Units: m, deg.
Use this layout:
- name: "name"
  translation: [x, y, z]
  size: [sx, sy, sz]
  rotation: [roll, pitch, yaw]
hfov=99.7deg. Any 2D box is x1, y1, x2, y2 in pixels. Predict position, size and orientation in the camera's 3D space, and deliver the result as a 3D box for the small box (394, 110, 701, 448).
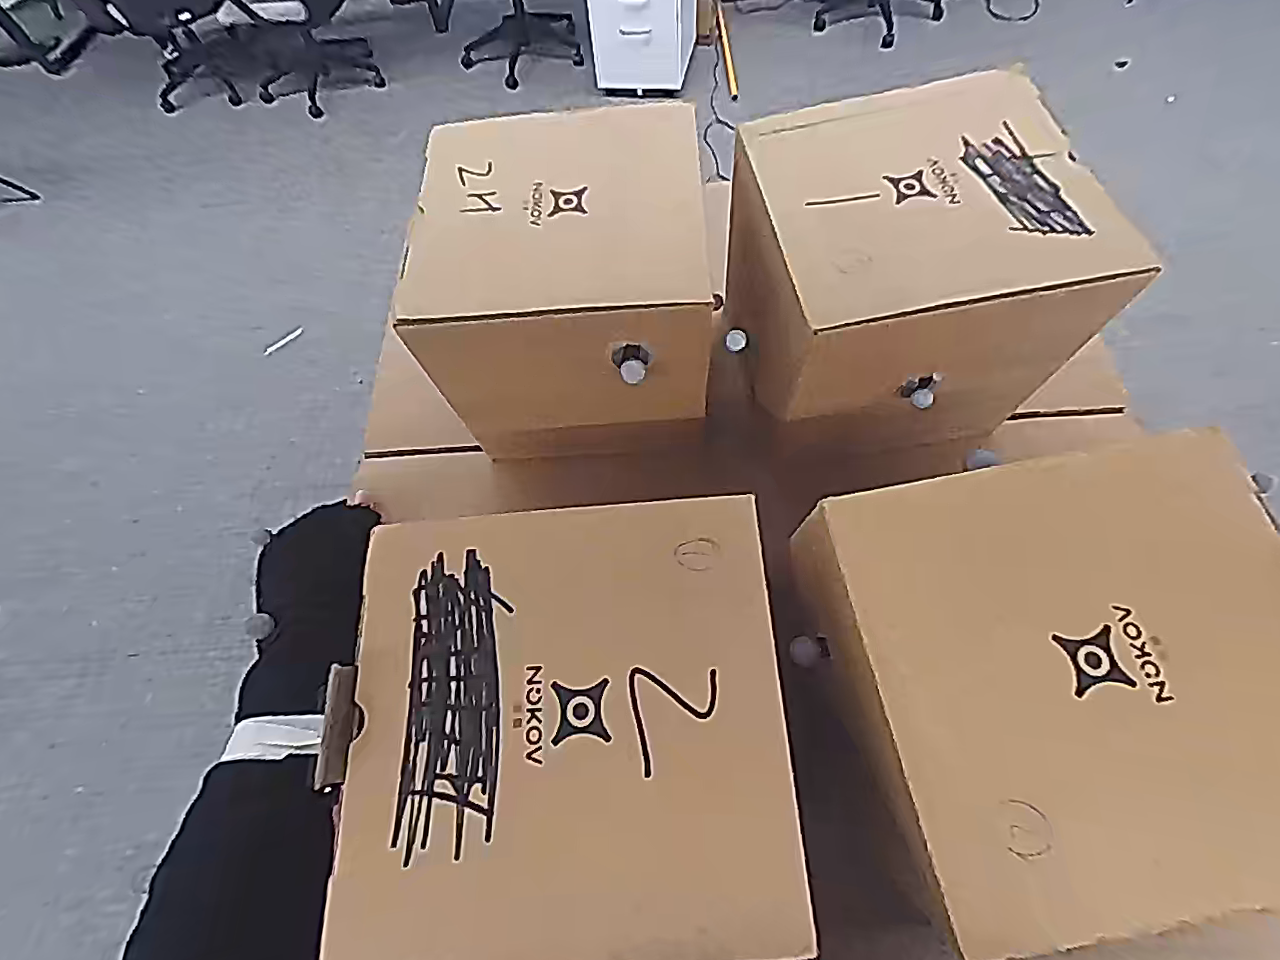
- name: "small box"
  translation: [-0.047, -0.134, 0.405]
  size: [0.179, 0.176, 0.168]
  rotation: [-3, 65, 5]
